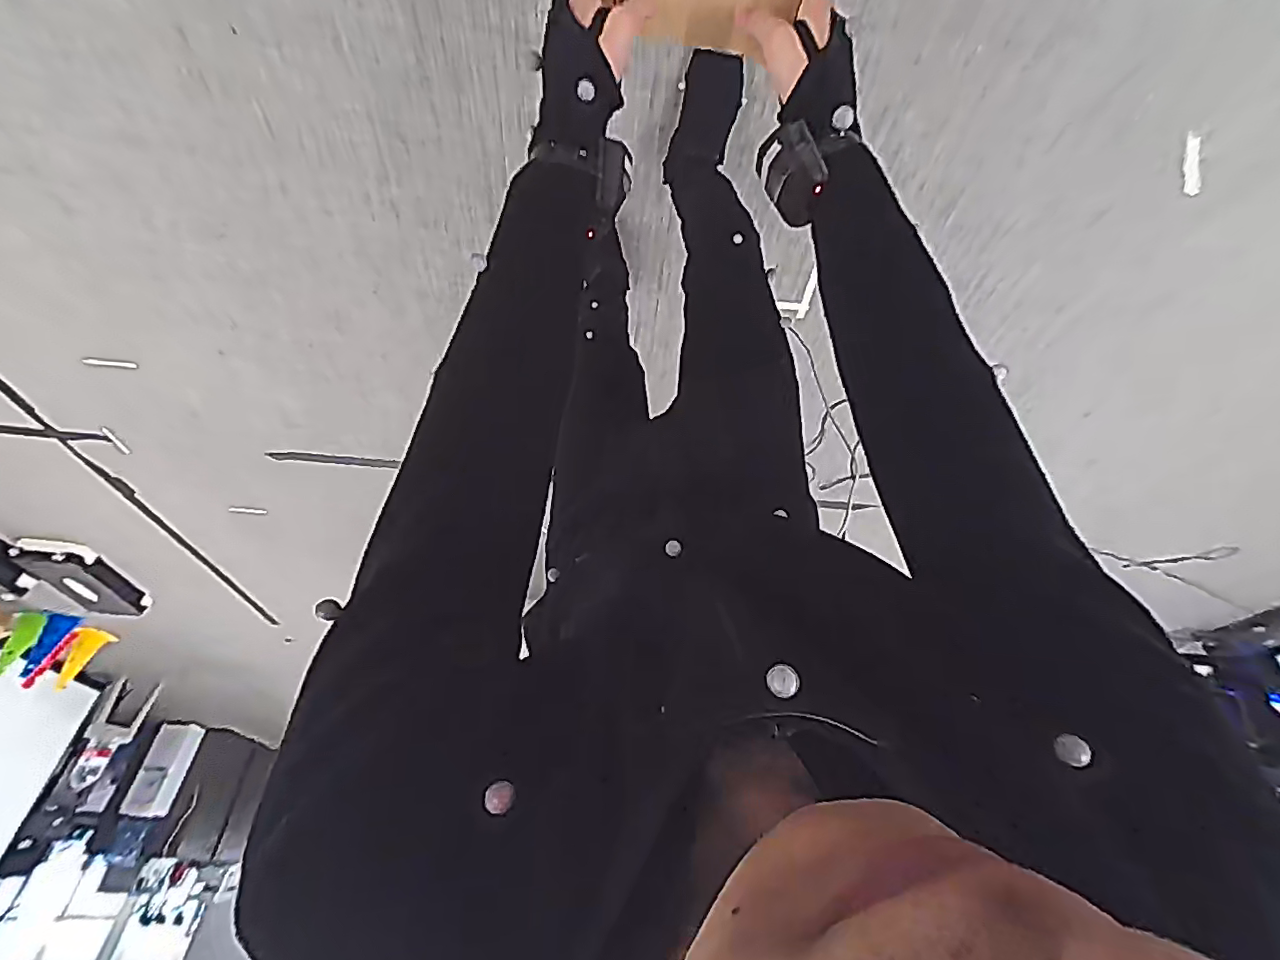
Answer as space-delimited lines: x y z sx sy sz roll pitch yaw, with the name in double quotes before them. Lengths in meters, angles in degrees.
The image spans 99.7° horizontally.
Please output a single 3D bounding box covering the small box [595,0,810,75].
"small box" 0.057 -0.485 0.458 0.179 0.176 0.168 4 146 -7
